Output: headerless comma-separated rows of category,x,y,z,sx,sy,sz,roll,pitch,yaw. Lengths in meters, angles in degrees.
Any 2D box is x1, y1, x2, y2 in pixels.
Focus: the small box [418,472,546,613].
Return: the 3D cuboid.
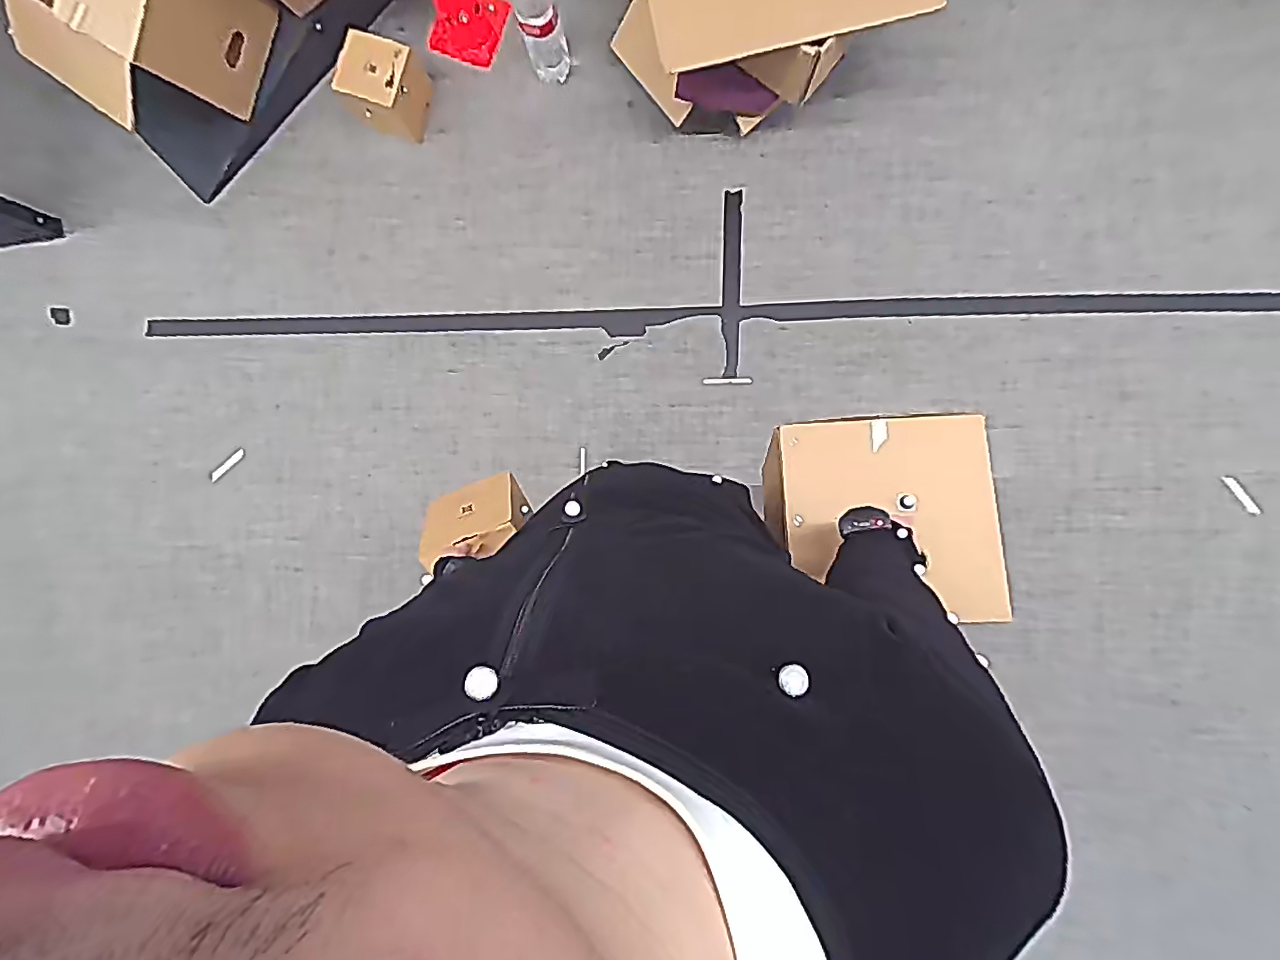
small box,-0.281,0.120,0.995,0.168,0.179,0.176,-21,123,-1
